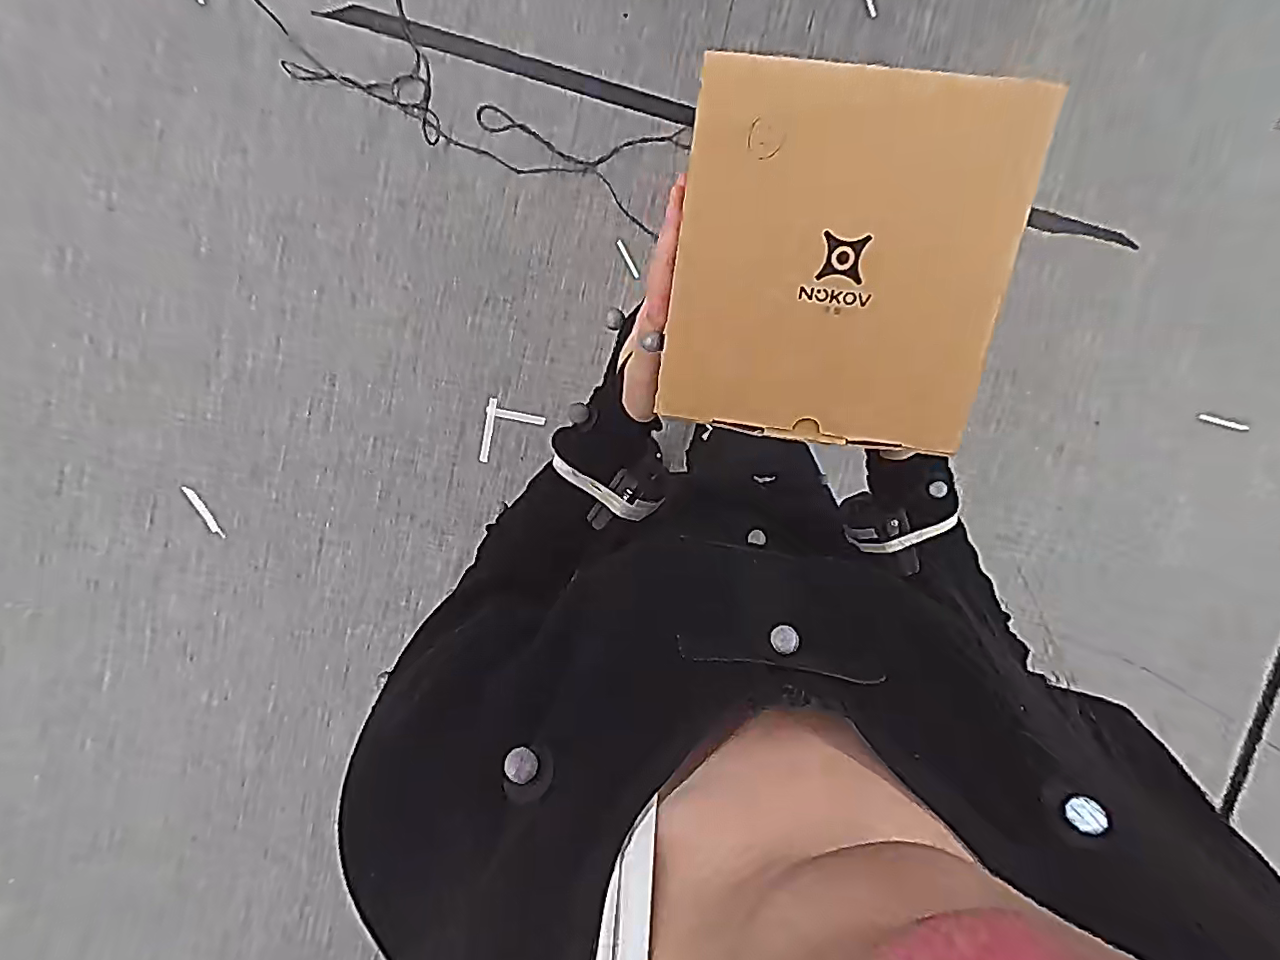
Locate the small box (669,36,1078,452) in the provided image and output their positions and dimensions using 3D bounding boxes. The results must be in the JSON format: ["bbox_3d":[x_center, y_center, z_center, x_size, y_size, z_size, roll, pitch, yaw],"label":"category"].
[{"bbox_3d":[0.111,-0.129,0.342,0.168,0.176,0.179,8,106,3],"label":"small box"}]
